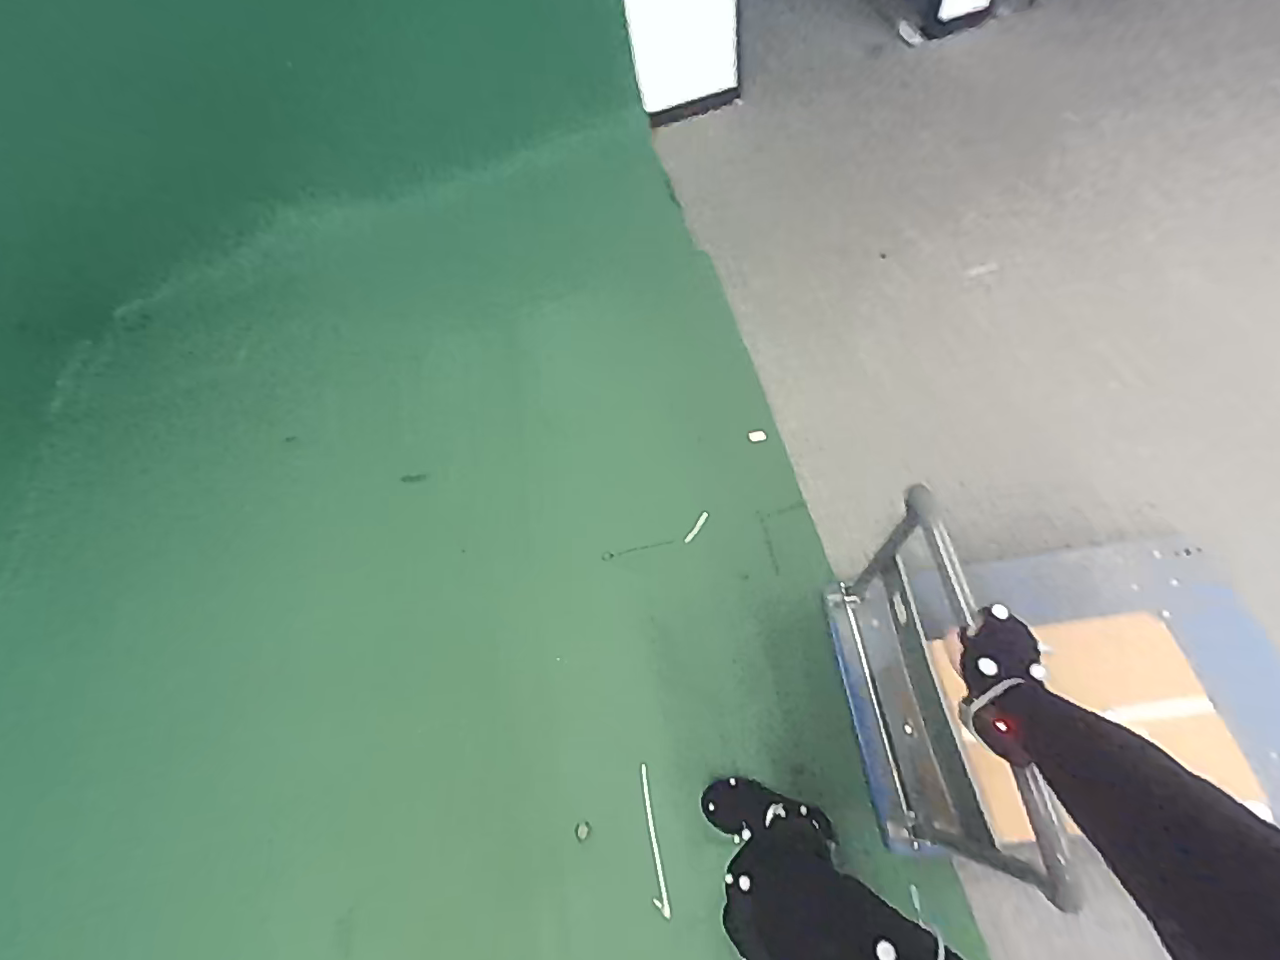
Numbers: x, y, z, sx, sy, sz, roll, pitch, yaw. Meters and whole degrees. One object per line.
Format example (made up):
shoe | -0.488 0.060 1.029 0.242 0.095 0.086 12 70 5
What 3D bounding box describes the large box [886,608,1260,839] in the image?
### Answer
large box | 0.756 0.466 1.037 0.408 0.320 0.320 -10 62 5
